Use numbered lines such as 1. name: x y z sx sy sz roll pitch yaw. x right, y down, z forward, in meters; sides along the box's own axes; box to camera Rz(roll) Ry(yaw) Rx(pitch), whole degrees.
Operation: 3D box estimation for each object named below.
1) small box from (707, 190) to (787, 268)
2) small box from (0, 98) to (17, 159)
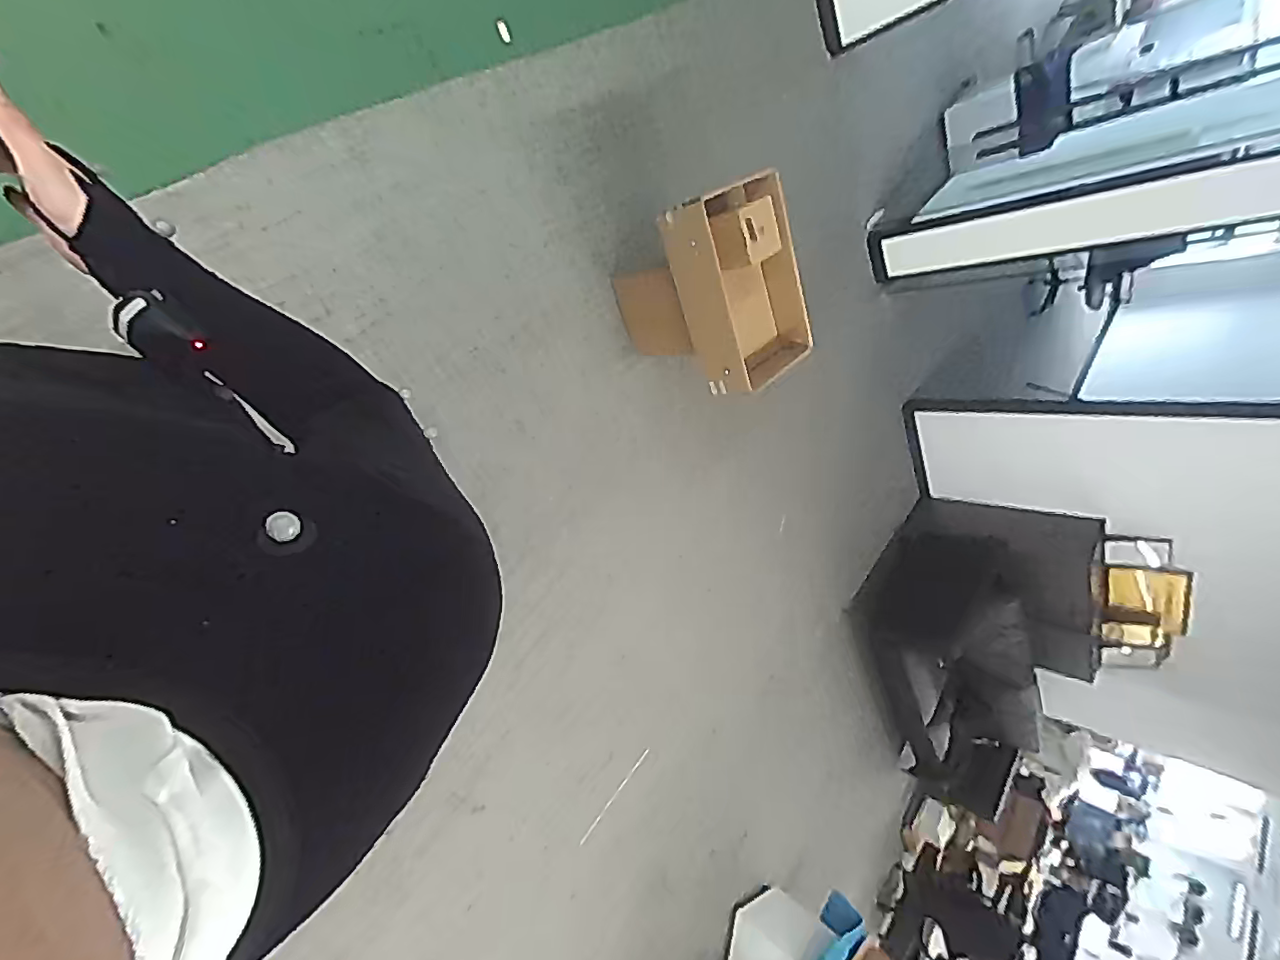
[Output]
1. small box: 0.329 -0.779 1.692 0.179 0.176 0.168 -38 121 -30
2. small box: -0.606 -0.351 0.384 0.168 0.176 0.179 -20 115 -37
